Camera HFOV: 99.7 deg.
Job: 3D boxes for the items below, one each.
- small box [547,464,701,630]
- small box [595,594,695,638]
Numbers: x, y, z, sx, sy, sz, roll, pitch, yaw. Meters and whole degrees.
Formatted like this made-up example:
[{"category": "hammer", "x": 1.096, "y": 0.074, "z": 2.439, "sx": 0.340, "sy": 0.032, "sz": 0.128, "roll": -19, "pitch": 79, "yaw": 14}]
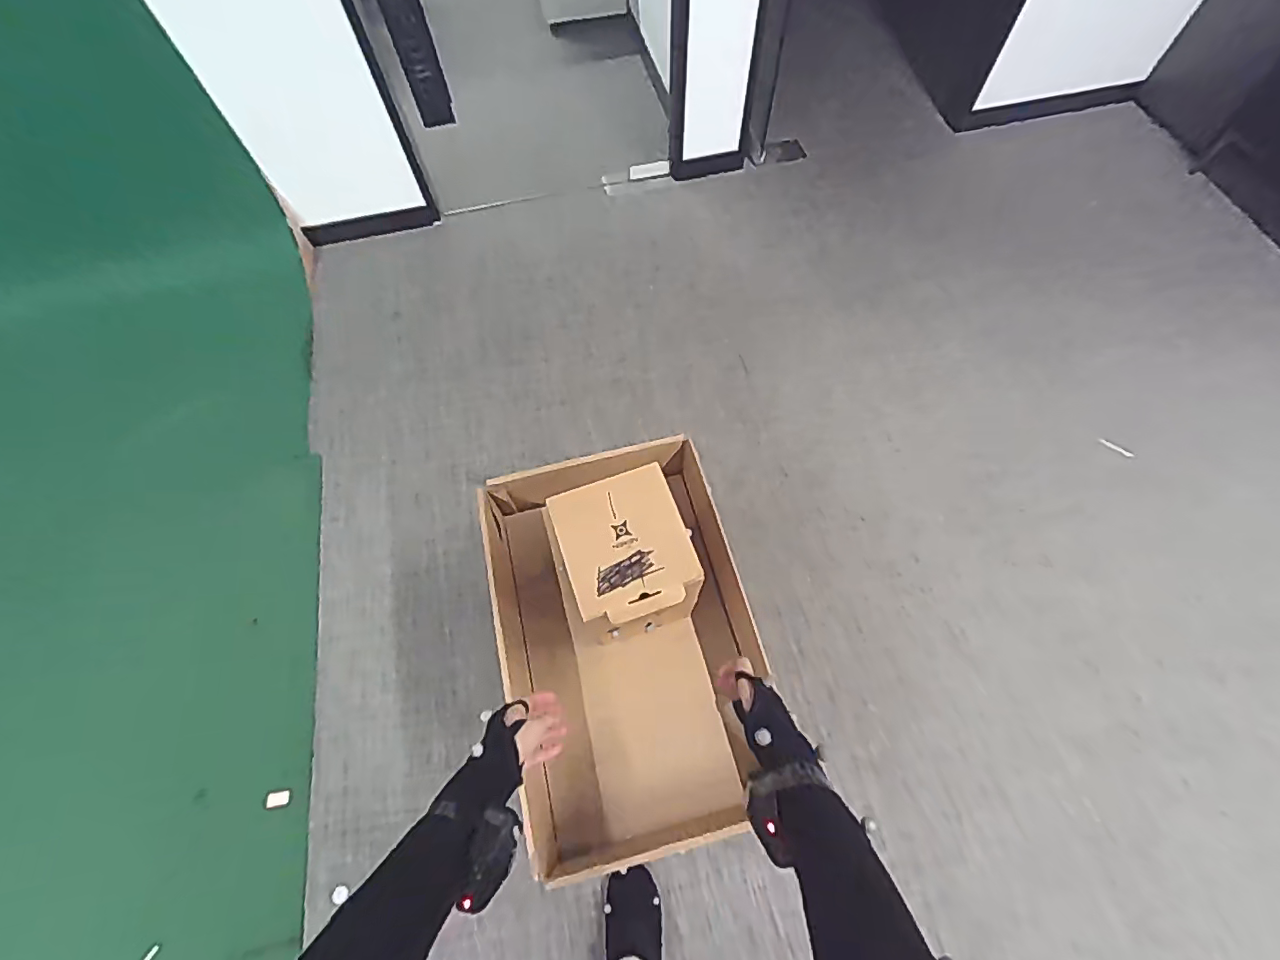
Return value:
[{"category": "small box", "x": -0.022, "y": 0.107, "z": 0.782, "sx": 0.168, "sy": 0.176, "sz": 0.179, "roll": -18, "pitch": 67, "yaw": -7}, {"category": "small box", "x": -0.014, "y": 0.165, "z": 0.936, "sx": 0.168, "sy": 0.176, "sz": 0.179, "roll": -16, "pitch": 68, "yaw": -7}]
